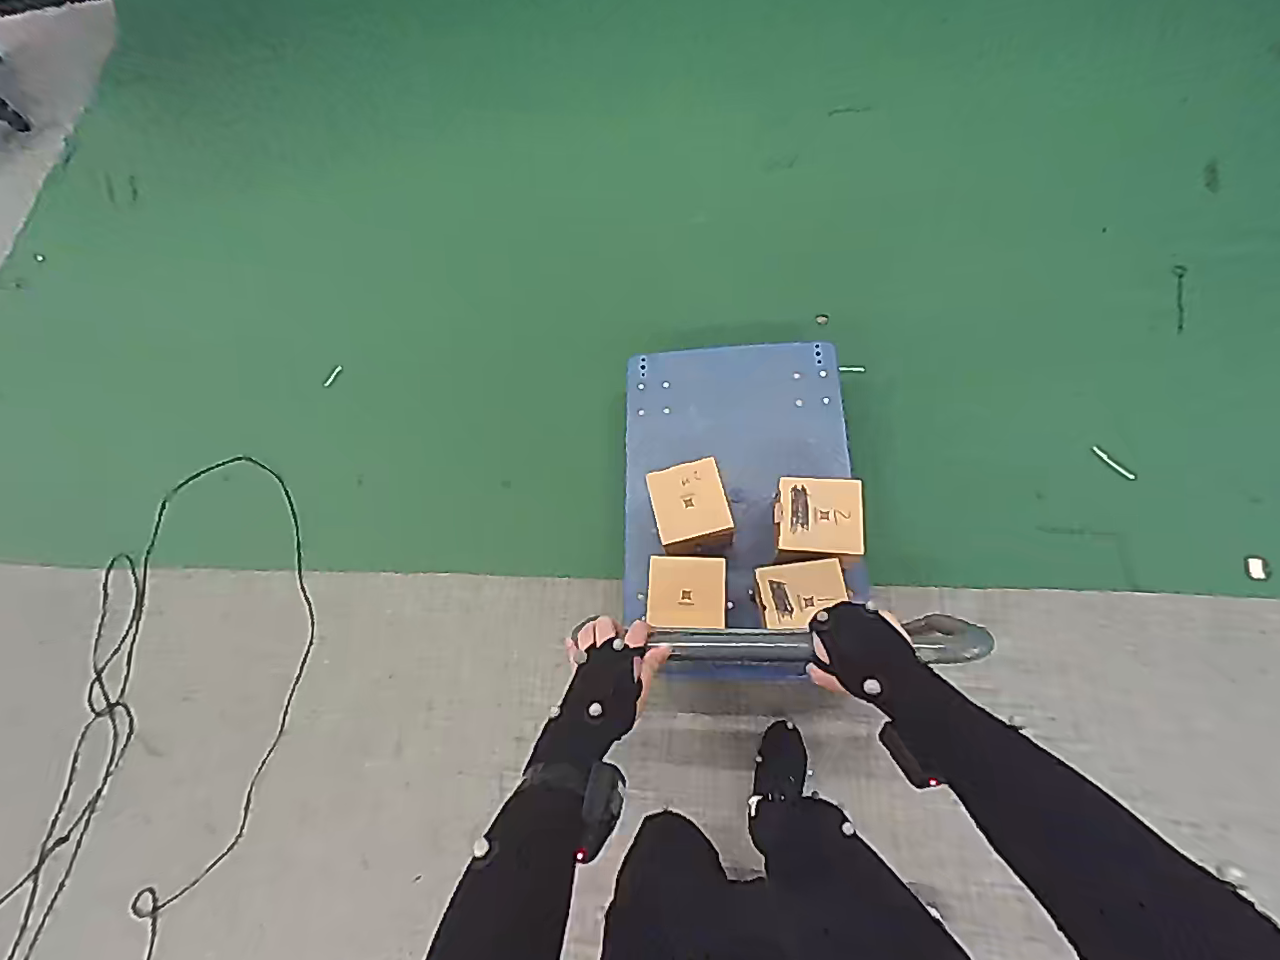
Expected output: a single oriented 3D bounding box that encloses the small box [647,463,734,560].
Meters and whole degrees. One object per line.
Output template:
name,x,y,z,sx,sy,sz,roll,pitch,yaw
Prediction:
small box,0.123,0.084,1.285,0.168,0.176,0.179,-14,69,3
